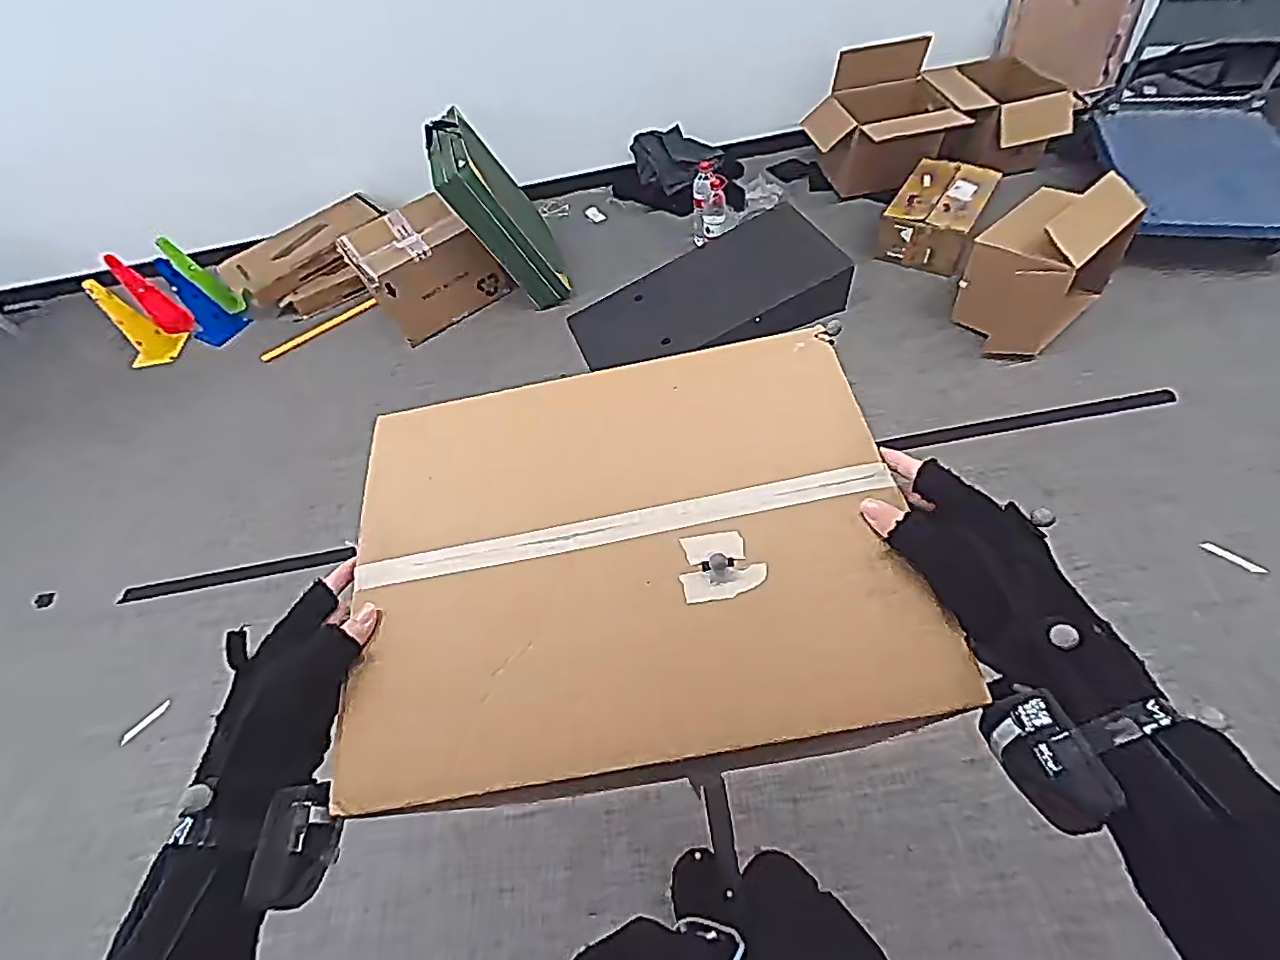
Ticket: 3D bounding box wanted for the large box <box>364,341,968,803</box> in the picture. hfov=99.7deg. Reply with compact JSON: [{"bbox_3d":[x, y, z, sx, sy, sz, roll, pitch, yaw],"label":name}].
[{"bbox_3d":[0.009,0.114,0.546,0.408,0.320,0.320,-11,60,2],"label":"large box"}]
